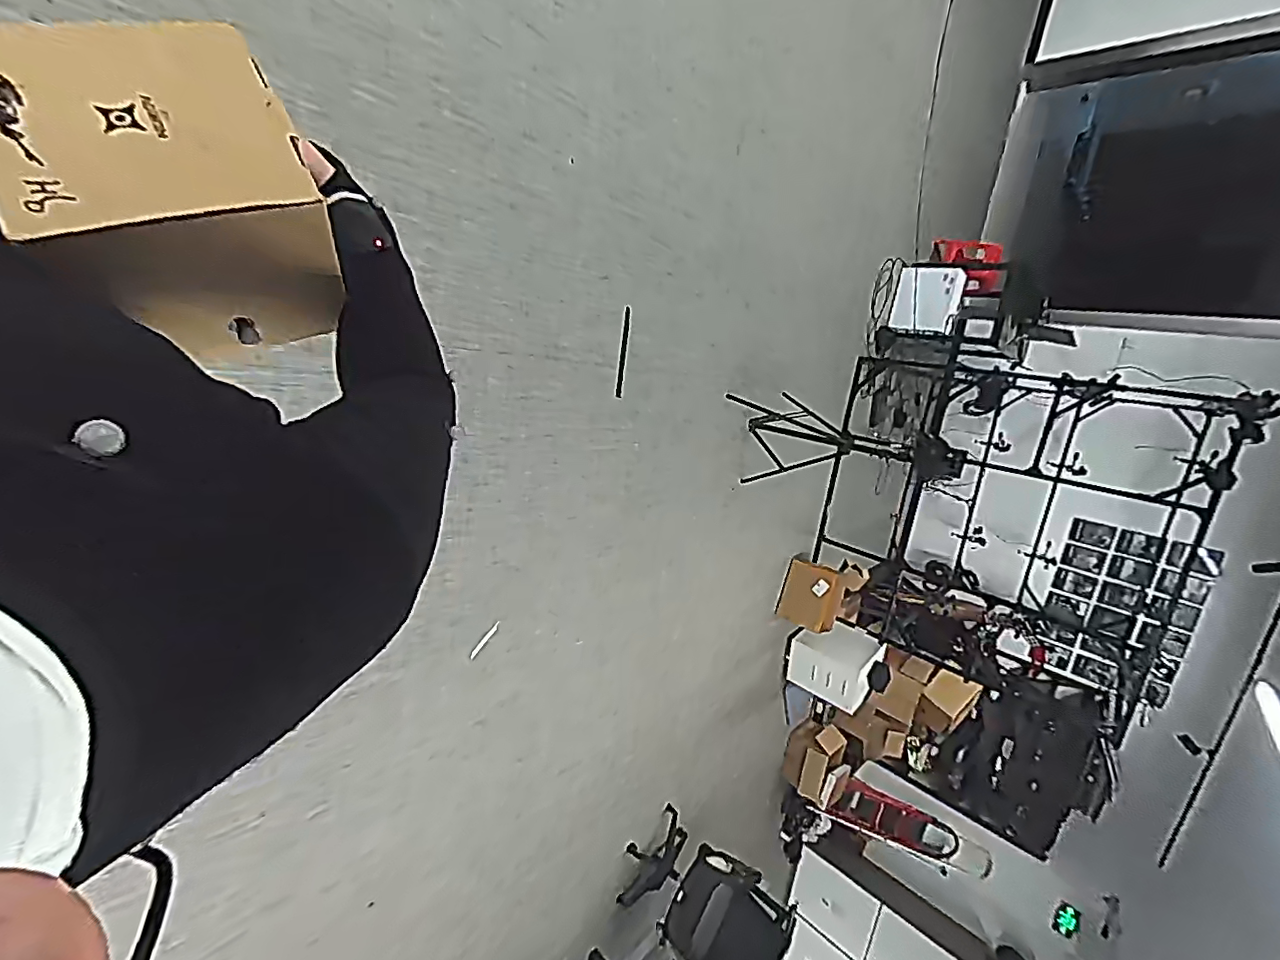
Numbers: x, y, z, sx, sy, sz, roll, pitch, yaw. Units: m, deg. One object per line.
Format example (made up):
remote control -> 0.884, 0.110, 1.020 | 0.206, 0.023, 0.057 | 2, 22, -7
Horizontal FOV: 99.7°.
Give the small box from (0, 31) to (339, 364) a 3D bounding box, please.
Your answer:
small box -> -0.373, -0.223, 0.452 | 0.179, 0.176, 0.168 | -24, 81, -27
